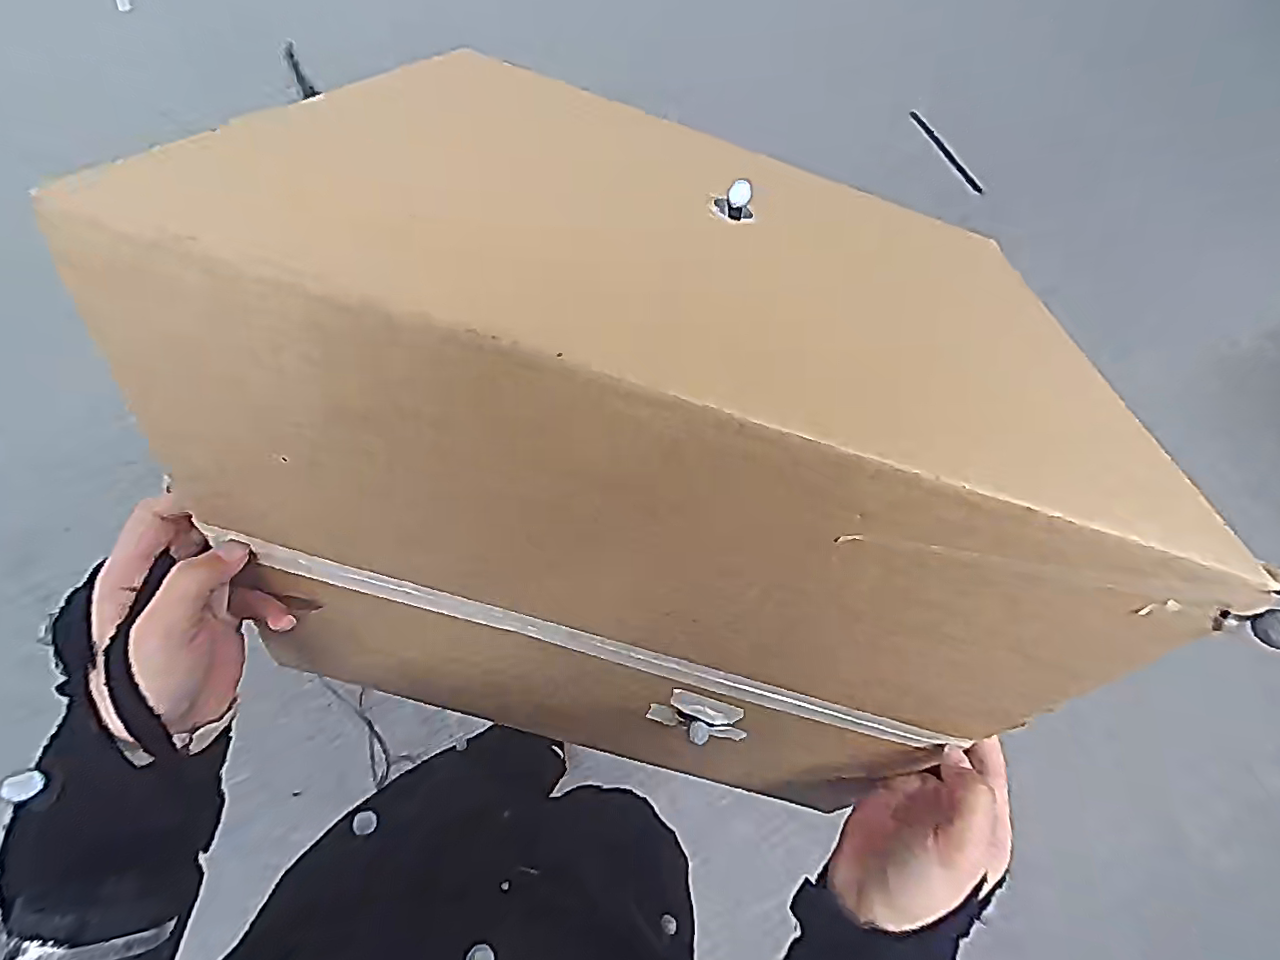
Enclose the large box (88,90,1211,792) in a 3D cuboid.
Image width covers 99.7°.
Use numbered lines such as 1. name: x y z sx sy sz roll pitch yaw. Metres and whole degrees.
1. large box: 0.000 -0.025 0.390 0.408 0.320 0.320 16 46 -4
